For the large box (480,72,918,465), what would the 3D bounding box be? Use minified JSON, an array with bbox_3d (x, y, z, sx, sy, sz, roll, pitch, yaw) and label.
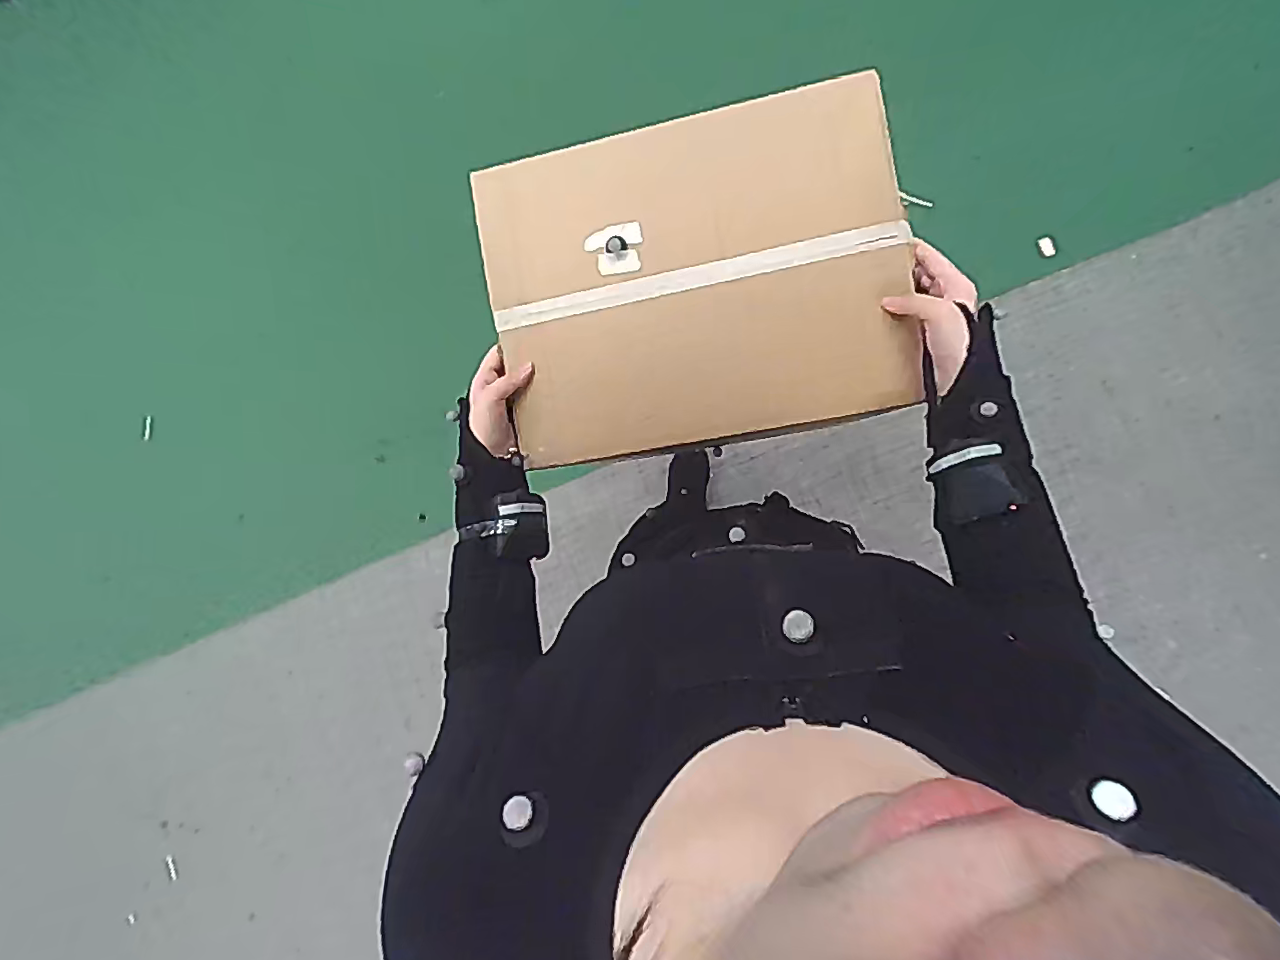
[{"bbox_3d":[0.072,-0.209,0.689,0.408,0.320,0.320,-10,90,10],"label":"large box"}]
